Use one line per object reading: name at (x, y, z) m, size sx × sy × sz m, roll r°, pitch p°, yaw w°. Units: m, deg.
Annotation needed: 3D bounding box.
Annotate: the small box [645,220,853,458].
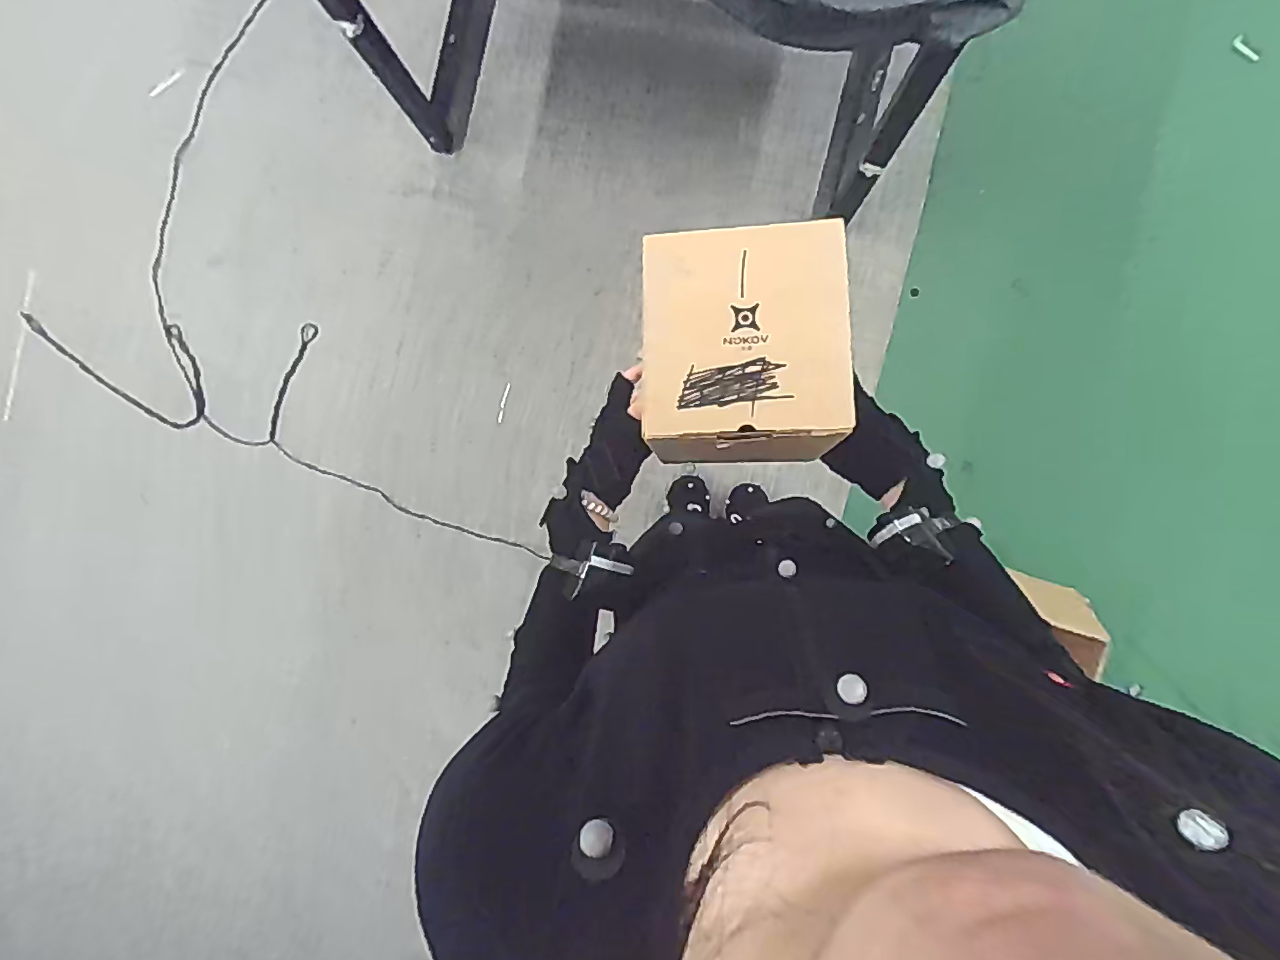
small box at (0.097, -0.115, 0.514) m, size 0.168 × 0.176 × 0.179 m, roll 0°, pitch 84°, yaw 7°
